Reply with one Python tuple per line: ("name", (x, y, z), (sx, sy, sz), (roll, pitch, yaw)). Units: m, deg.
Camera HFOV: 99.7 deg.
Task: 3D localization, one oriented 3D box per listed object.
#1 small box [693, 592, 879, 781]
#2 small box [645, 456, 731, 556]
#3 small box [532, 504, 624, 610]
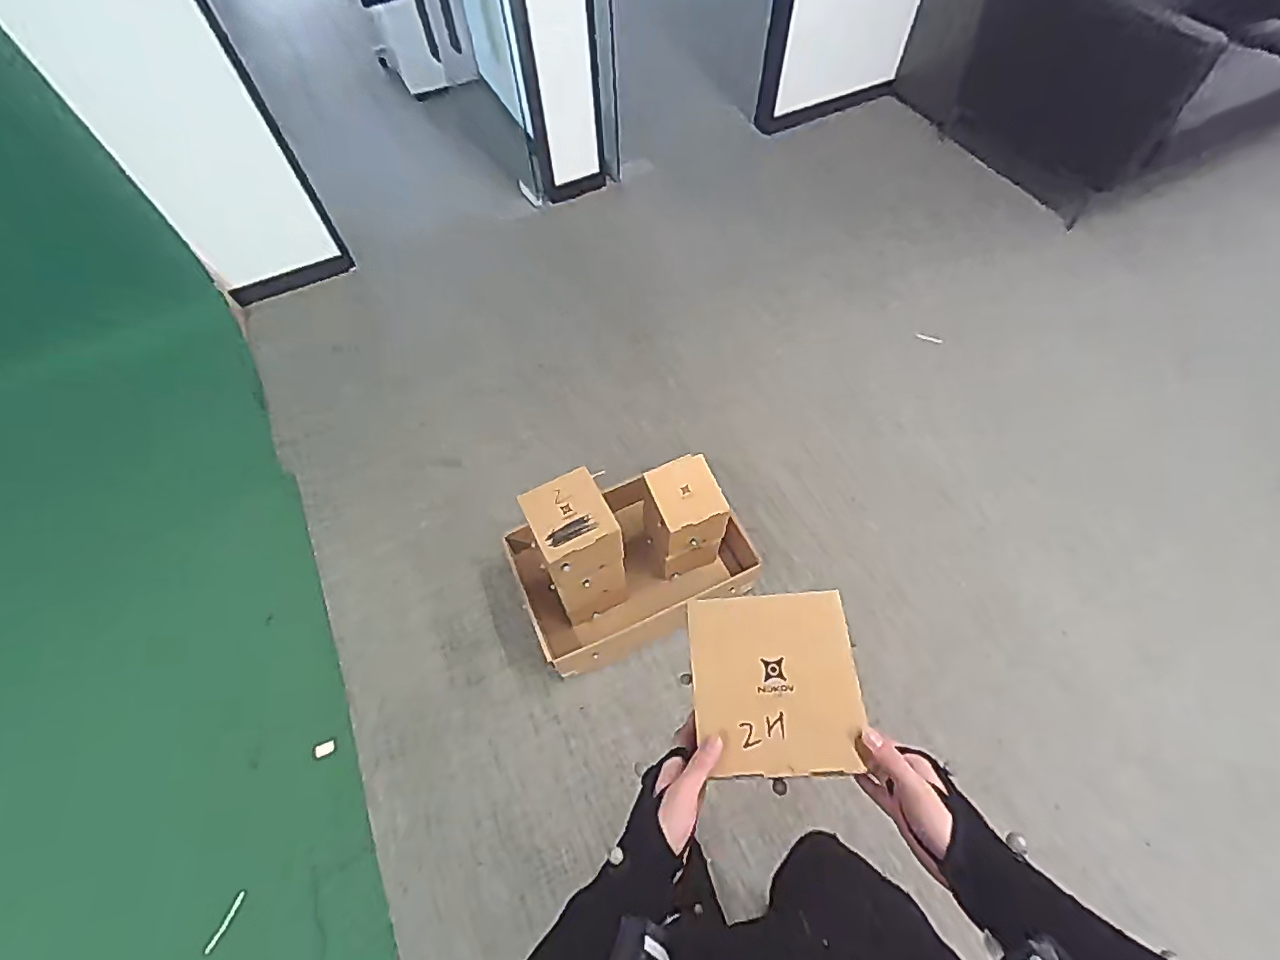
("small box", (0.149, 0.240, 0.615), (0.168, 0.176, 0.179), (-5, 60, 7))
("small box", (0.116, 0.072, 1.406), (0.168, 0.176, 0.179), (-19, 63, -10))
("small box", (-0.150, 0.194, 1.340), (0.168, 0.176, 0.179), (-26, 63, -12))
